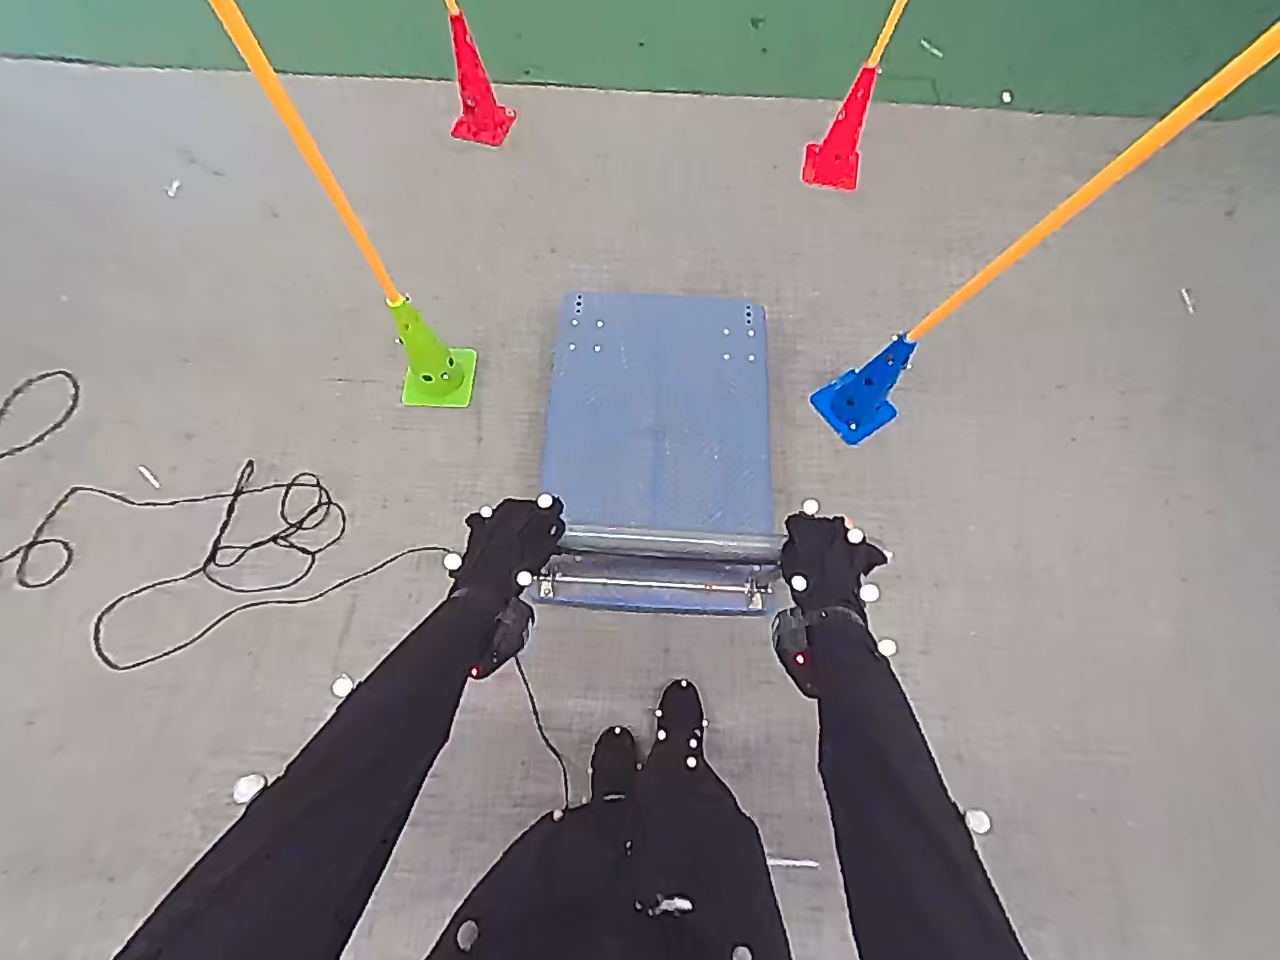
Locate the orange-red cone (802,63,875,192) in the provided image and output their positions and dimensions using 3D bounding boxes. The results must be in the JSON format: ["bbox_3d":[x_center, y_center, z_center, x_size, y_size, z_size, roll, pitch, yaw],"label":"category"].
[{"bbox_3d":[0.697,-1.191,1.804,0.198,0.360,0.199,13,71,5],"label":"orange-red cone"}]
